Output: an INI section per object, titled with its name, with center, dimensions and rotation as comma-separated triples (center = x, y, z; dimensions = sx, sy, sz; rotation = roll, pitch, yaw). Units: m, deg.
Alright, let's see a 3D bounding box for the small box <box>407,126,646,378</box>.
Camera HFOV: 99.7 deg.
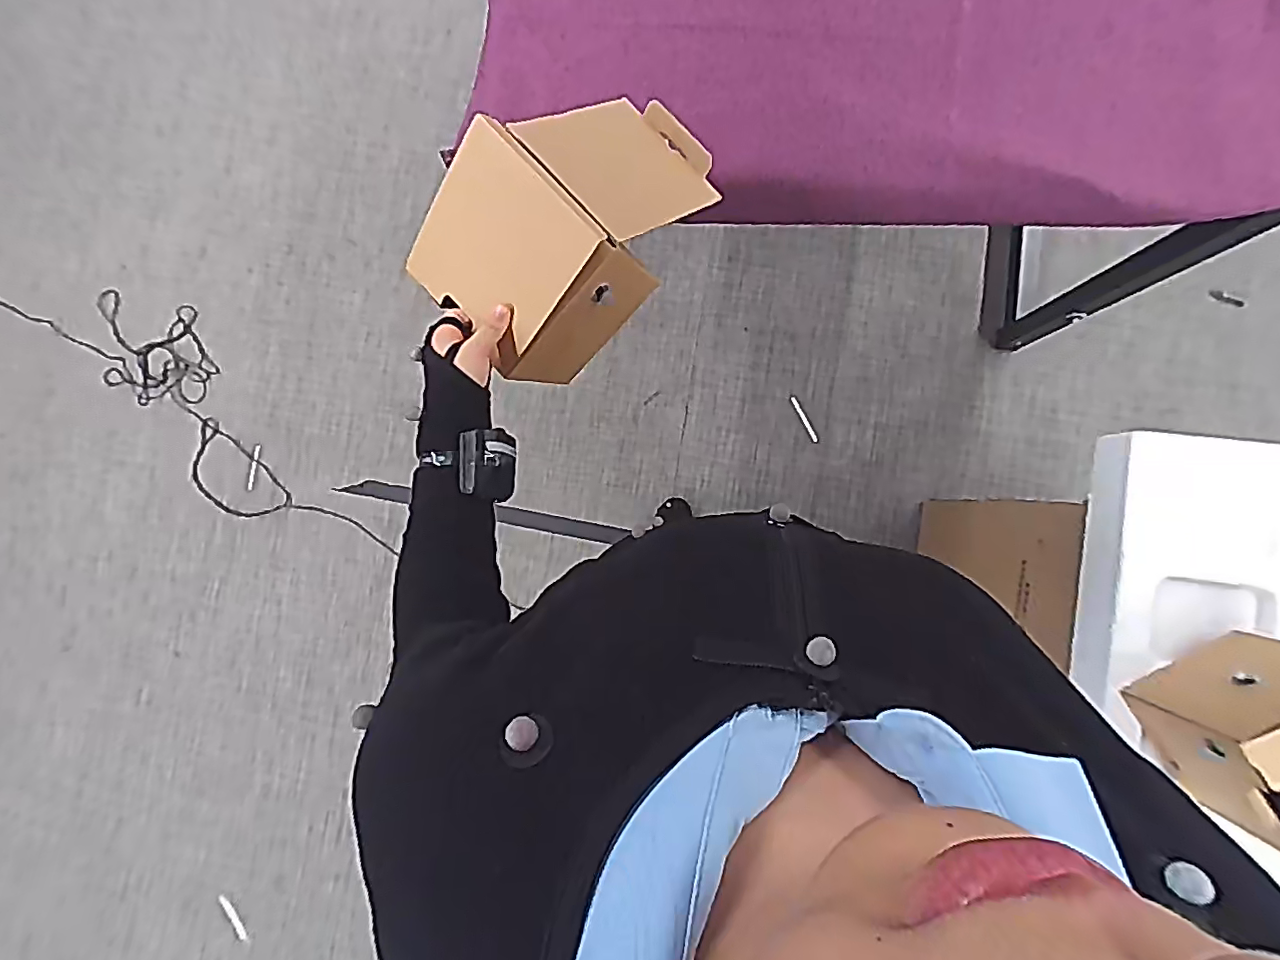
[small box]
center = -0.111, -0.236, 0.611
dimensions = 0.179, 0.176, 0.168
rotation = -43, 84, 16
